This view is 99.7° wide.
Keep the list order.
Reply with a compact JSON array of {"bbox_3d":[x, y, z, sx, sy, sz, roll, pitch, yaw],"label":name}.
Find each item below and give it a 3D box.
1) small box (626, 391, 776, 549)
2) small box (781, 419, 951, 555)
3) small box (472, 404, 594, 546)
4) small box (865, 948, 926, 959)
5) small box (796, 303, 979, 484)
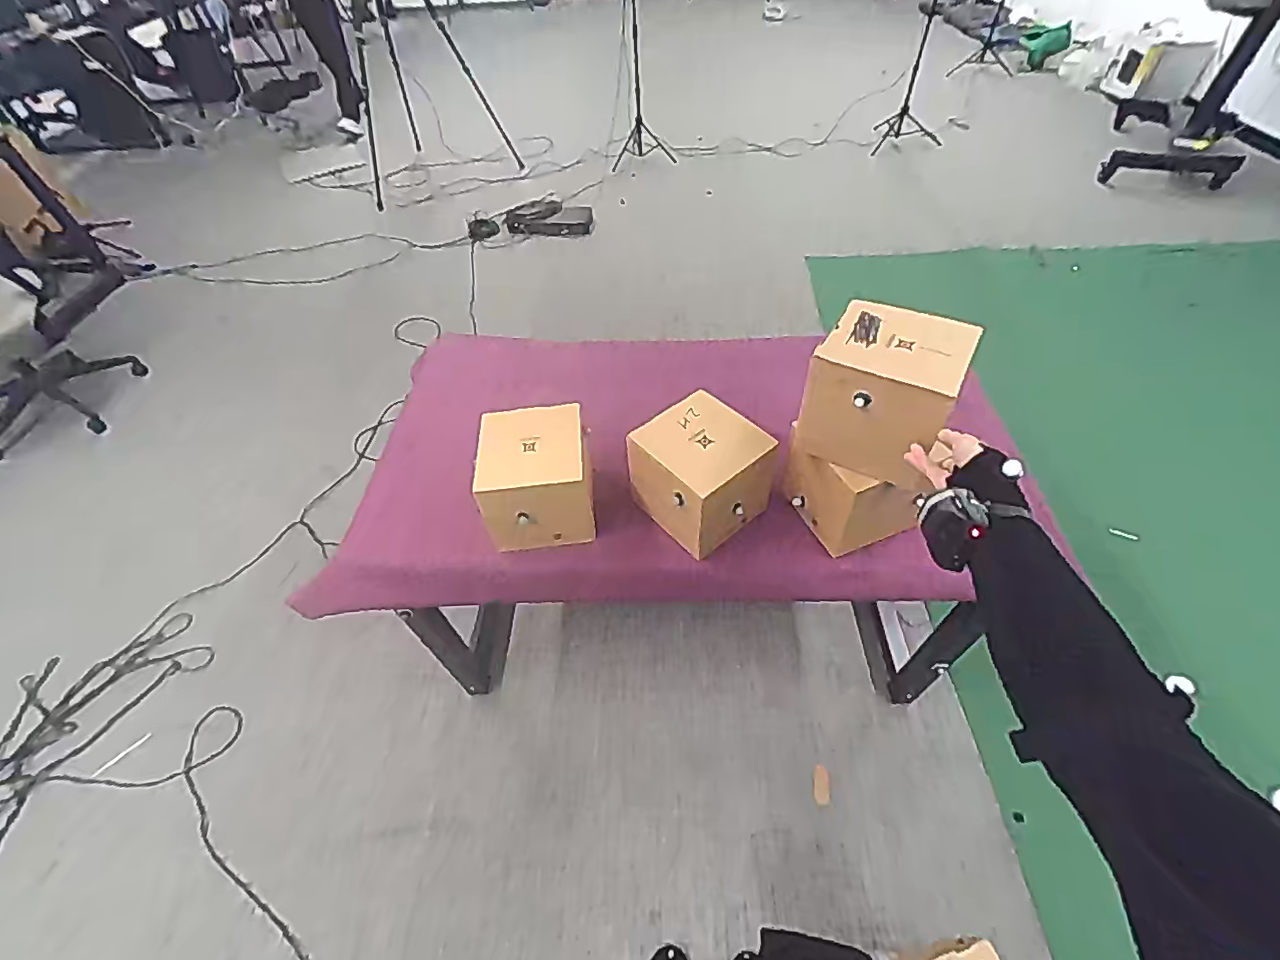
[{"bbox_3d":[0.098,-0.009,0.897,0.168,0.176,0.179,-33,56,-23],"label":"small box"},{"bbox_3d":[0.353,-0.008,0.882,0.179,0.176,0.168,-19,49,-11],"label":"small box"},{"bbox_3d":[-0.171,-0.002,0.910,0.168,0.176,0.179,-7,49,-2],"label":"small box"},{"bbox_3d":[0.520,0.989,0.993,0.179,0.176,0.168,7,52,10],"label":"small box"},{"bbox_3d":[0.339,-0.121,0.765,0.179,0.176,0.168,24,53,23],"label":"small box"}]
